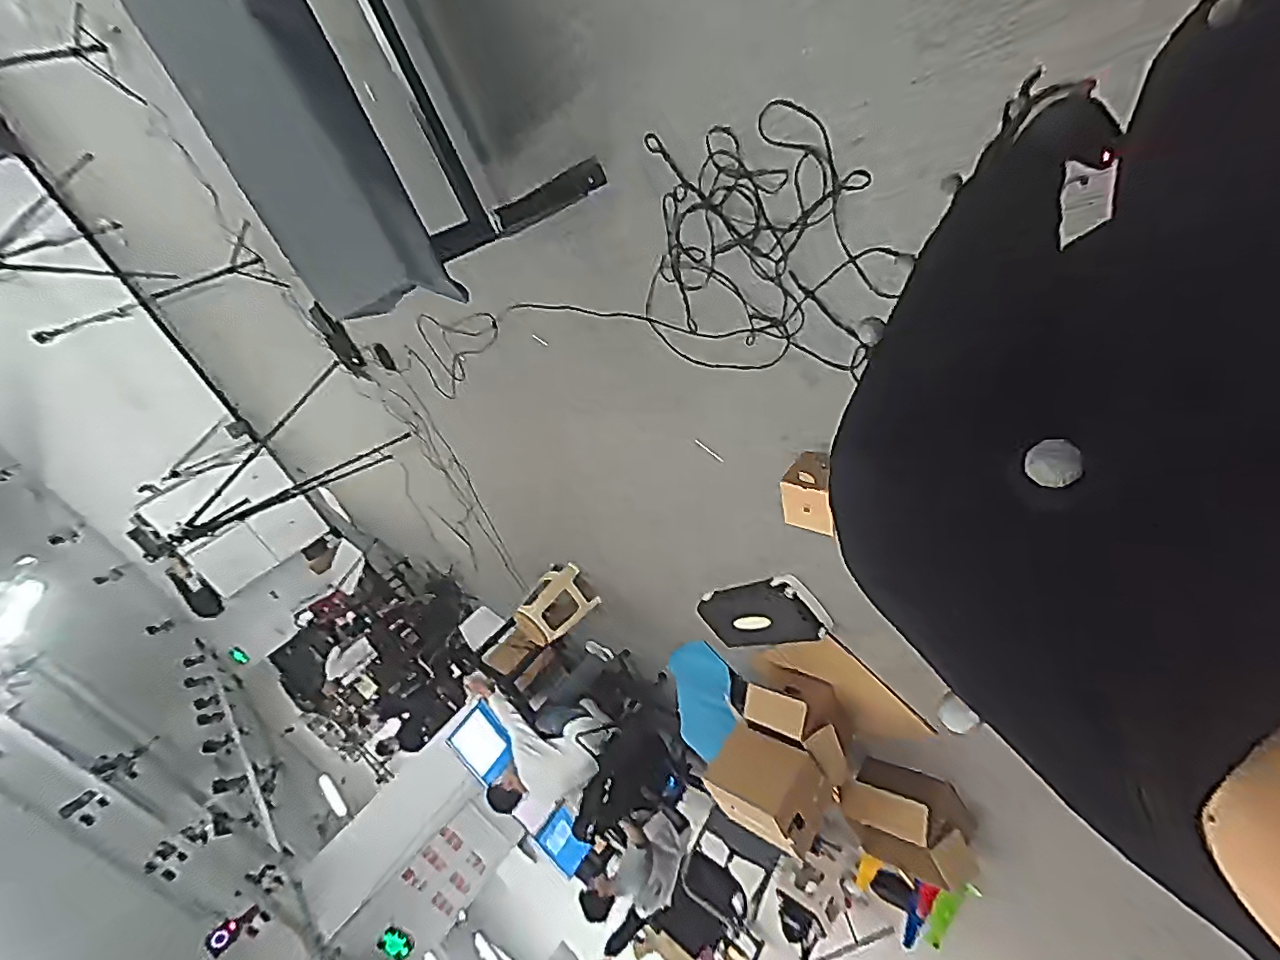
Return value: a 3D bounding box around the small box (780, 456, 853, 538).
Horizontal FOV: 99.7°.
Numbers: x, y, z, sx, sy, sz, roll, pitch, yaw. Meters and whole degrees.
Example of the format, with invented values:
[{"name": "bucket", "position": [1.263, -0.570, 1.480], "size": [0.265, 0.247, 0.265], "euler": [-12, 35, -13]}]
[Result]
[{"name": "small box", "position": [0.562, 0.049, 1.707], "size": [0.168, 0.176, 0.179], "euler": [15, 135, 39]}]
